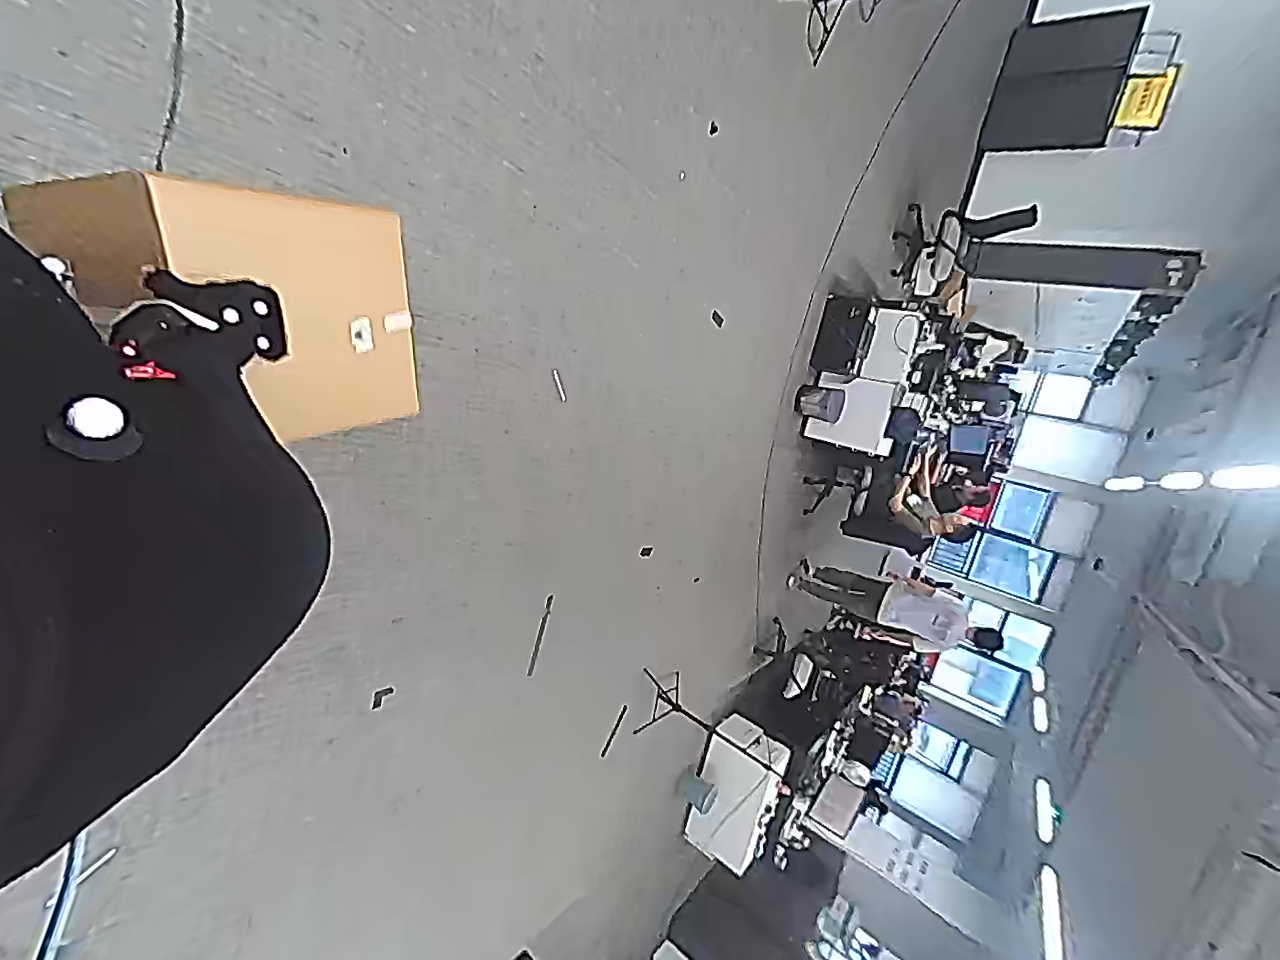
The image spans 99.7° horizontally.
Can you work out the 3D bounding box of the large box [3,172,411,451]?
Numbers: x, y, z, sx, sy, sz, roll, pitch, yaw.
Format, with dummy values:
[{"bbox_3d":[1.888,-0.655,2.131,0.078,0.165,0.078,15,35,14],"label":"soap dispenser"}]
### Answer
[{"bbox_3d":[-0.625,-0.259,0.823,0.320,0.408,0.320,-31,128,-55],"label":"large box"}]
